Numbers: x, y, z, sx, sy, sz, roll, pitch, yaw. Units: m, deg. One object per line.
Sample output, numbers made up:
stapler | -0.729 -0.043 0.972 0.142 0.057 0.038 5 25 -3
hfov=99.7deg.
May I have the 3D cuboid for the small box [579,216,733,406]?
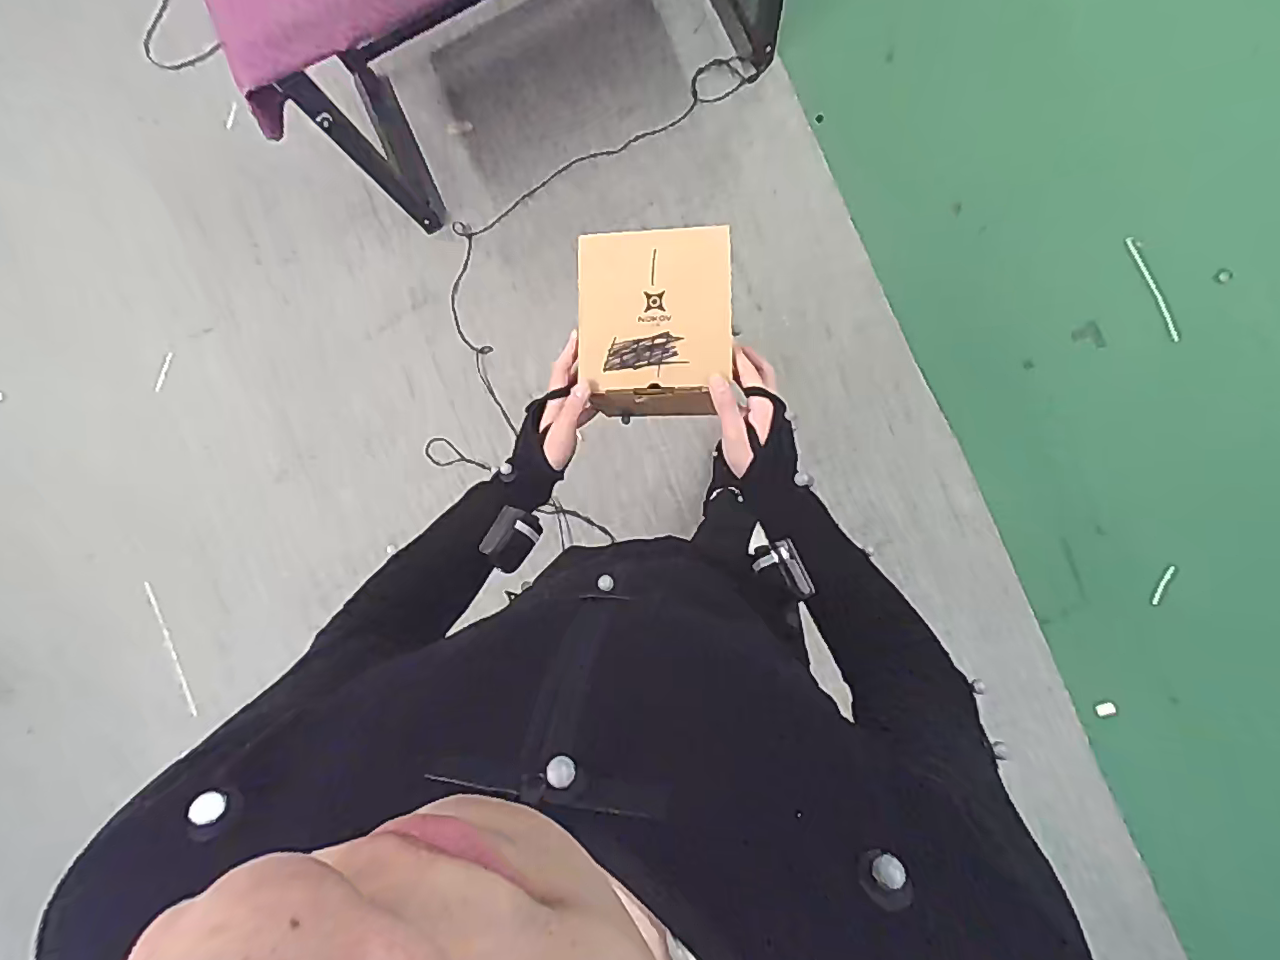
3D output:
small box | 0.025 -0.185 0.647 0.168 0.176 0.179 -1 87 6
